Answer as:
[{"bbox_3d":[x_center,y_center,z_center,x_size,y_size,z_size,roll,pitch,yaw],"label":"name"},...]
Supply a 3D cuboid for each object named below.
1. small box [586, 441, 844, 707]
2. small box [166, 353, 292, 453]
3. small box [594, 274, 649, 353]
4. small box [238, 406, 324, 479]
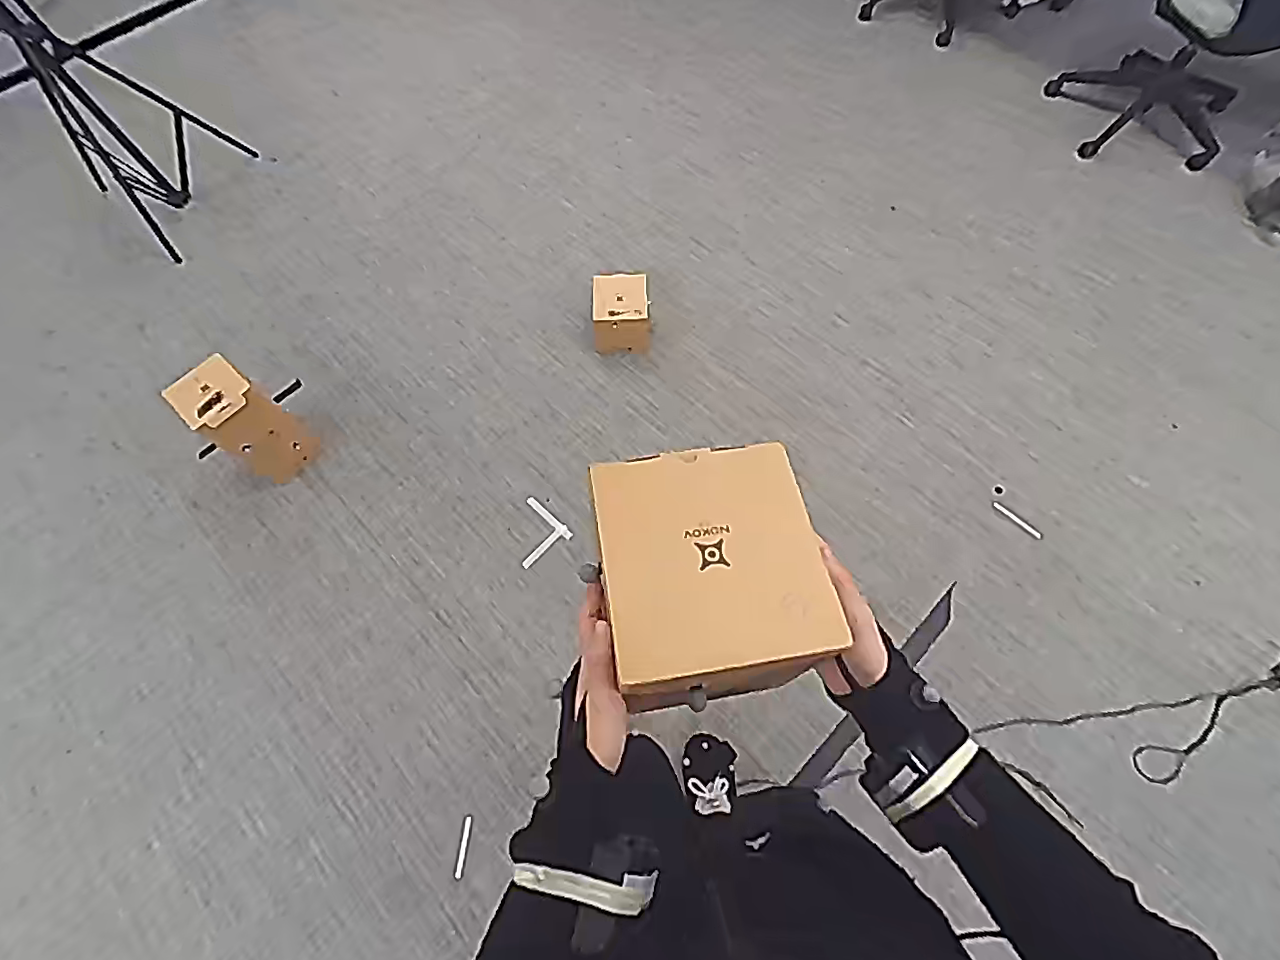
[{"bbox_3d":[0.048,0.091,0.475,0.168,0.176,0.179,-8,59,-7],"label":"small box"},{"bbox_3d":[-1.080,-0.194,1.435,0.179,0.176,0.168,38,73,18],"label":"small box"},{"bbox_3d":[-0.056,-0.523,1.707,0.168,0.176,0.179,-1,66,1],"label":"small box"},{"bbox_3d":[-1.077,-0.124,1.584,0.179,0.176,0.168,37,72,18],"label":"small box"}]
